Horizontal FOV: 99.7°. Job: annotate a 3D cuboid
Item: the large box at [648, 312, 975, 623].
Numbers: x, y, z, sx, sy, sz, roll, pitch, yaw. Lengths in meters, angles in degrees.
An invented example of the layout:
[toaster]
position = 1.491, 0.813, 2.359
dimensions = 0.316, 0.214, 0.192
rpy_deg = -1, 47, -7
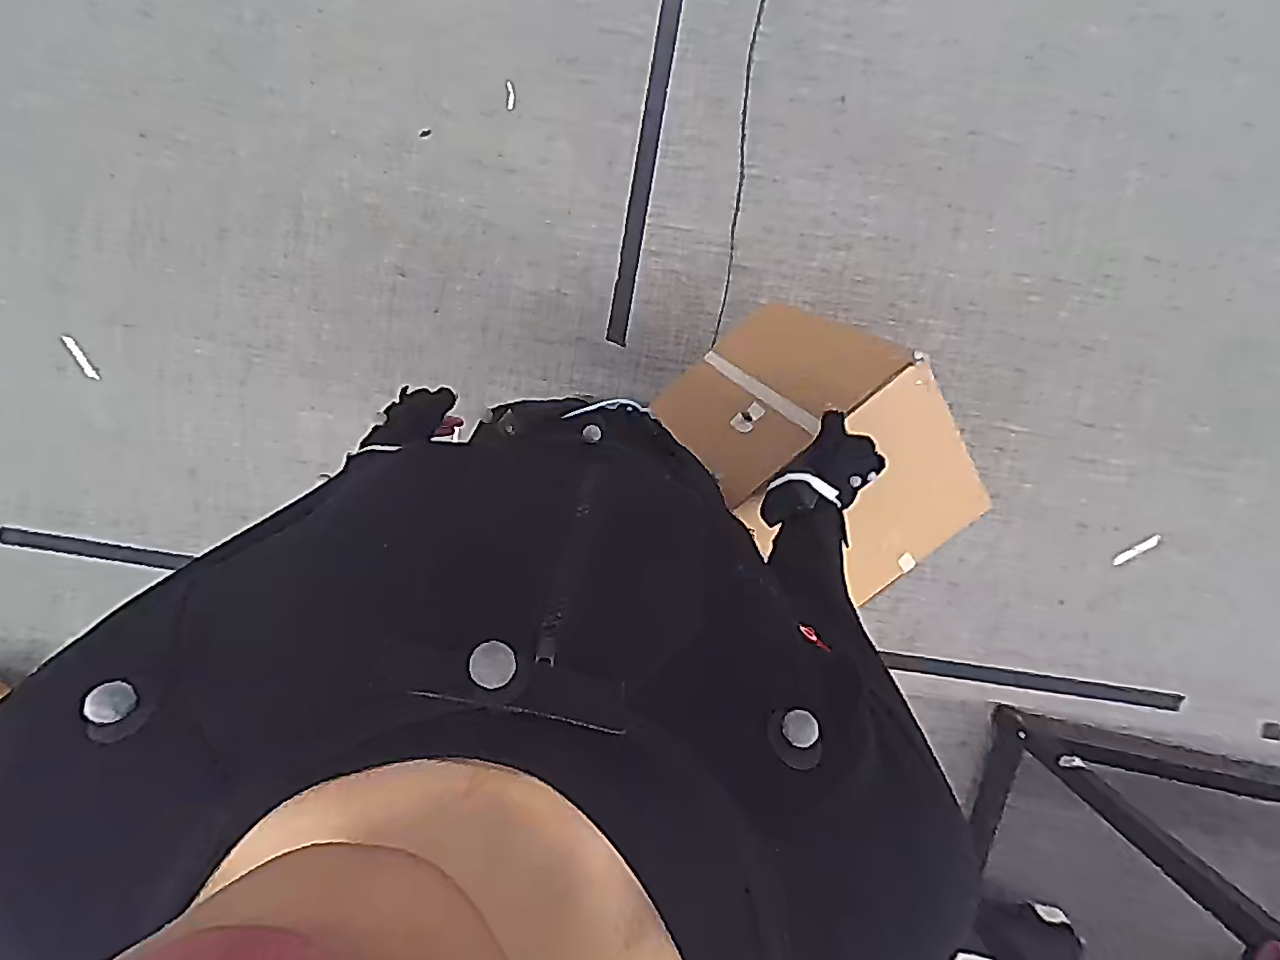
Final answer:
[large box]
position = 0.270, -0.042, 0.941
dimensions = 0.320, 0.408, 0.320
rpy_deg = -40, 121, 6
